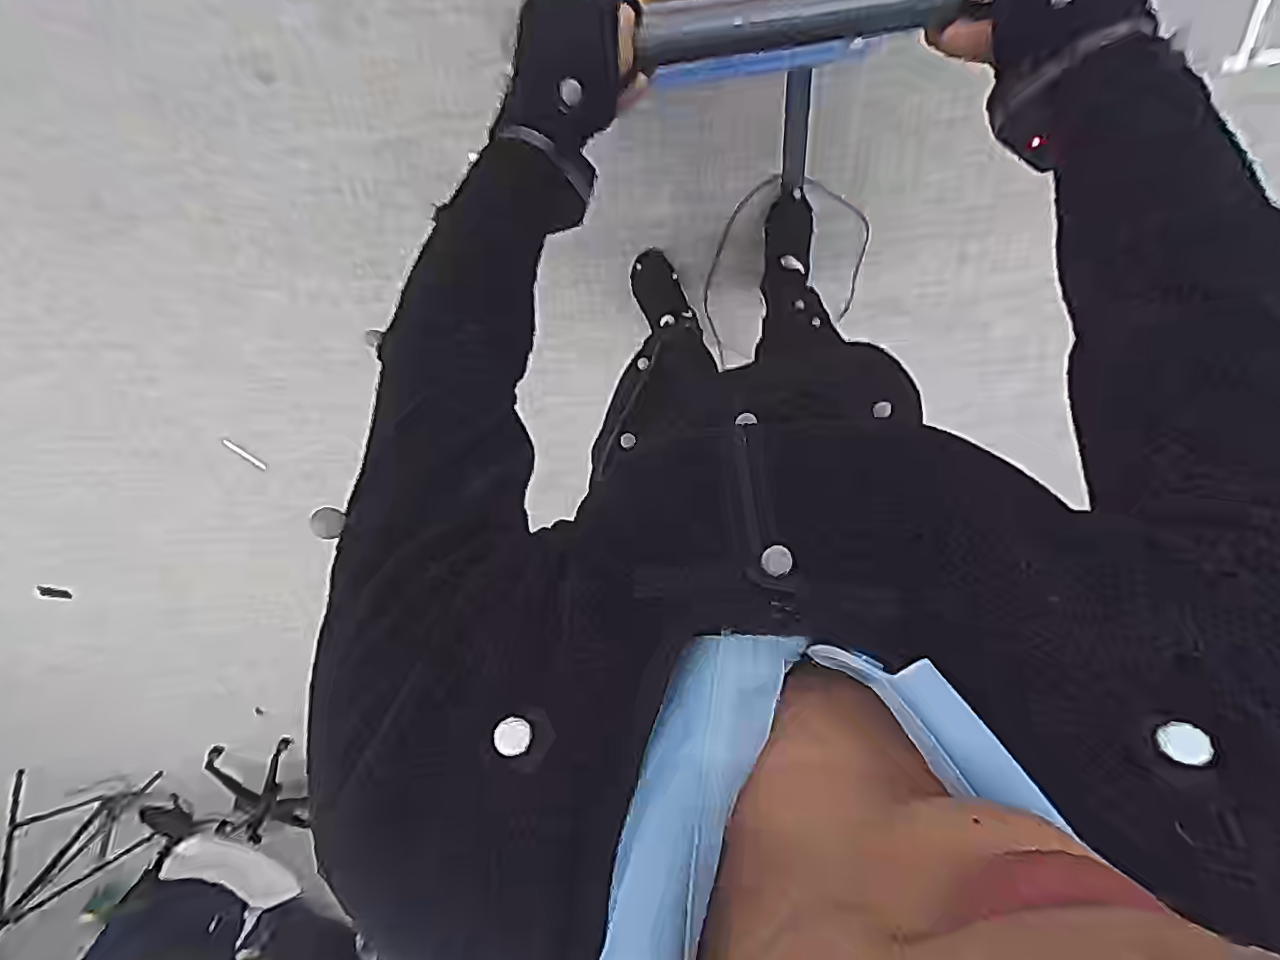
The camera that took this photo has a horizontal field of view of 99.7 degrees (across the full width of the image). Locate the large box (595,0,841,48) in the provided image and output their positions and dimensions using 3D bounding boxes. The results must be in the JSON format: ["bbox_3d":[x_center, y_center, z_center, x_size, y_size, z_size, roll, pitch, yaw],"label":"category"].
[{"bbox_3d":[0.118,-0.843,0.744,0.408,0.320,0.320,-6,123,5],"label":"large box"}]
